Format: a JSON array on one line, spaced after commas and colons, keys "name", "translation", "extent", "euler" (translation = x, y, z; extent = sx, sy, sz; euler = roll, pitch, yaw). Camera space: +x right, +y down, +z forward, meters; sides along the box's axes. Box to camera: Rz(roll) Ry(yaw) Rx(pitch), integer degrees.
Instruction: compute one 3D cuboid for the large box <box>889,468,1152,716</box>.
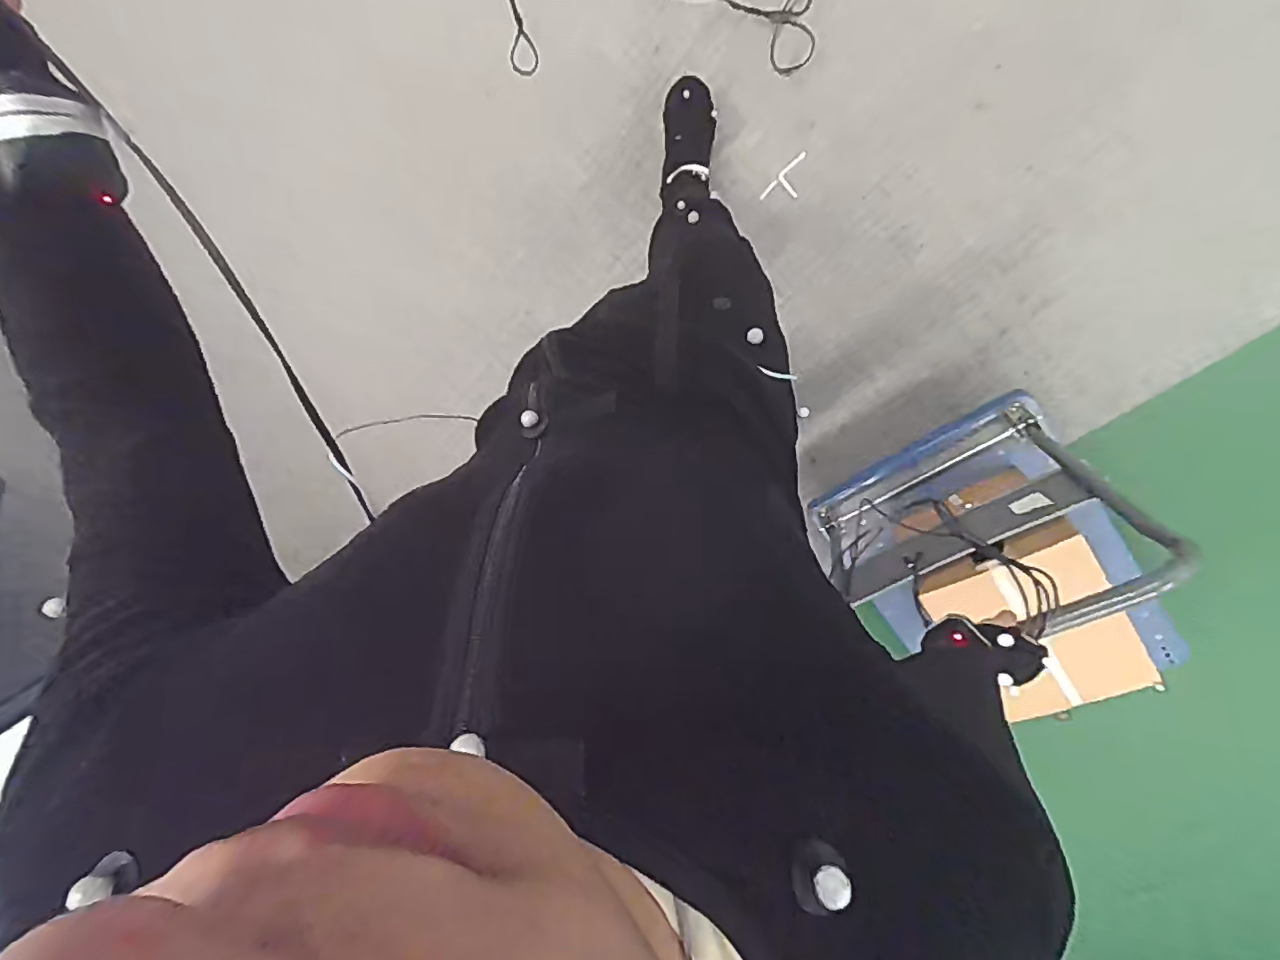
[{"name": "large box", "translation": [0.840, 0.251, 1.247], "extent": [0.320, 0.320, 0.408], "euler": [-30, 106, 25]}]
